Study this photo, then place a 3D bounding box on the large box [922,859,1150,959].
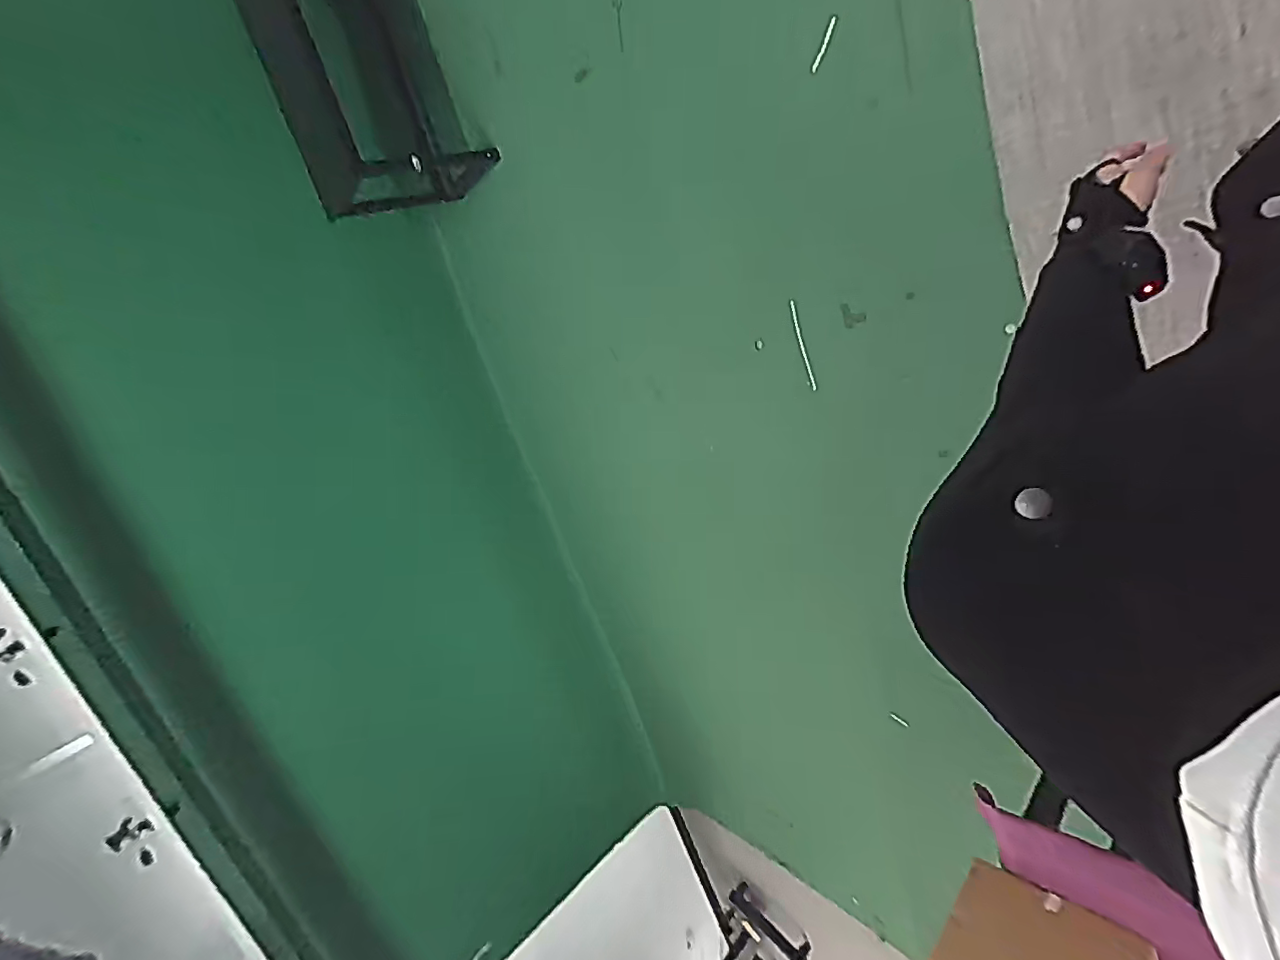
[{"bbox_3d":[0.814,1.105,1.088,0.320,0.320,0.408,-2,112,51],"label":"large box"}]
